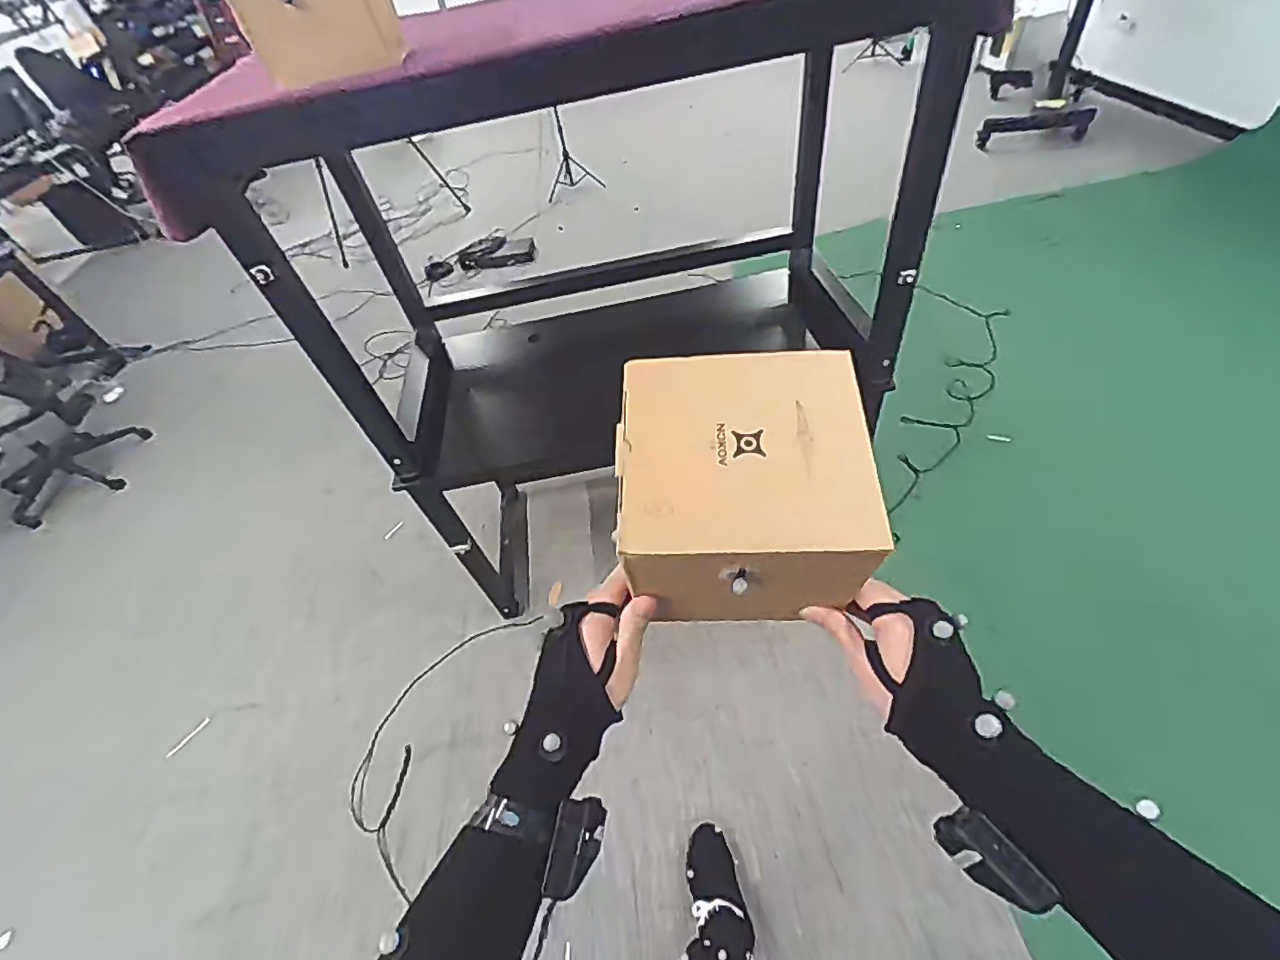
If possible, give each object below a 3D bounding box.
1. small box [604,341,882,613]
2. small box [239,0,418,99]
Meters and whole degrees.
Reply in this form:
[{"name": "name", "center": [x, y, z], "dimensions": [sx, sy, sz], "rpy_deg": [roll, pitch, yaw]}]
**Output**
[{"name": "small box", "center": [0.074, 0.008, 0.446], "dimensions": [0.179, 0.176, 0.168], "rpy_deg": [-1, 60, 6]}, {"name": "small box", "center": [-0.446, -0.670, 0.770], "dimensions": [0.179, 0.176, 0.168], "rpy_deg": [-13, 47, 1]}]
